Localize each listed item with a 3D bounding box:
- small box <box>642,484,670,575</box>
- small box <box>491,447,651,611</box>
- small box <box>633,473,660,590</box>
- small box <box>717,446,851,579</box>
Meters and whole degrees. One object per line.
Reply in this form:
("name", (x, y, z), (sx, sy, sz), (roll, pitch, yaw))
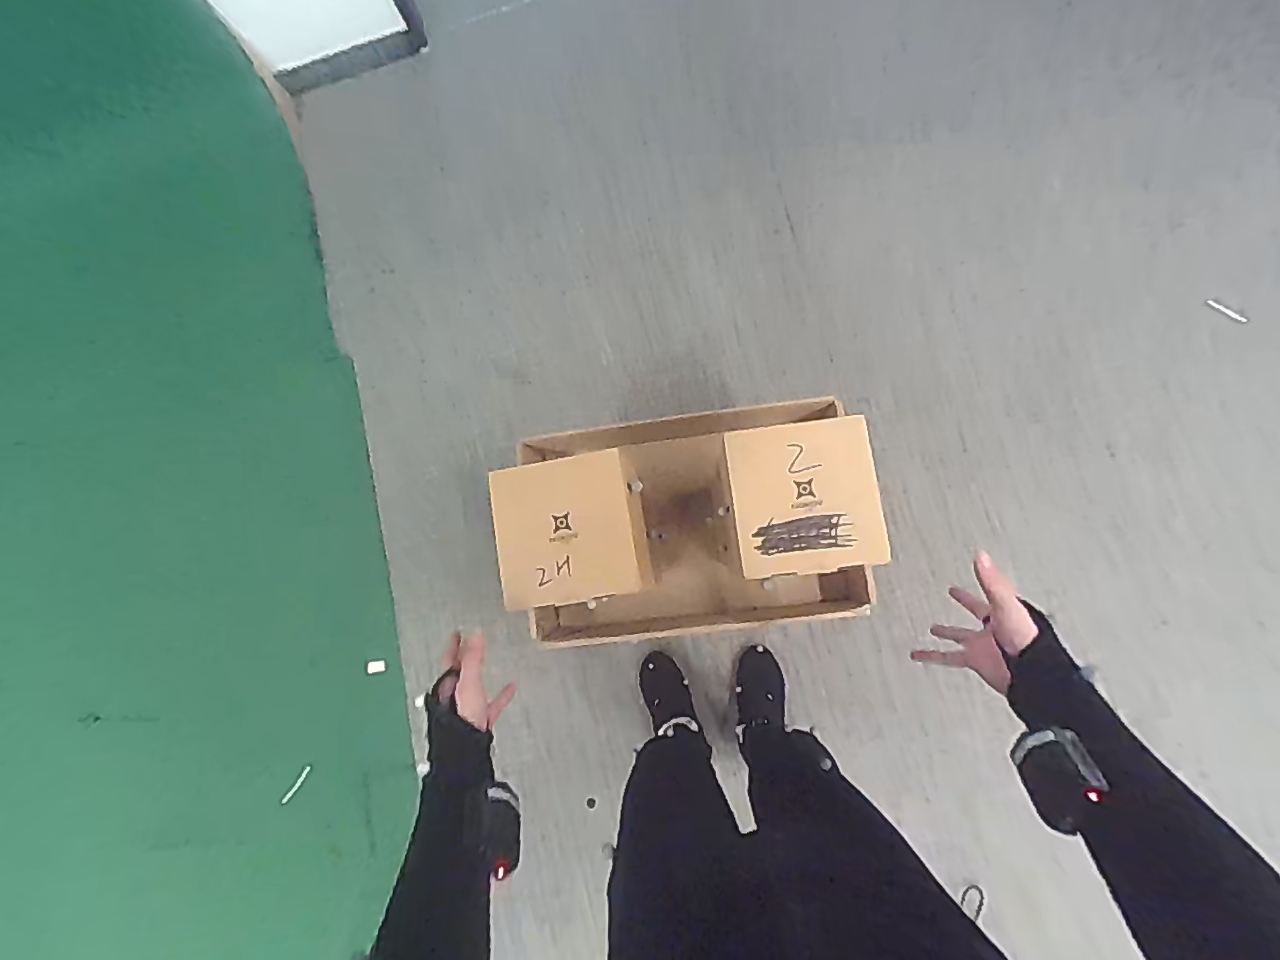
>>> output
("small box", (-0.043, 0.111, 1.038), (0.179, 0.176, 0.168), (-9, 81, 4))
("small box", (-0.082, 0.069, 0.715), (0.168, 0.176, 0.179), (-10, 81, 5))
("small box", (-0.064, 0.100, 0.877), (0.168, 0.176, 0.179), (-11, 80, 4))
("small box", (0.214, 0.057, 0.848), (0.168, 0.176, 0.179), (-7, 80, 5))
